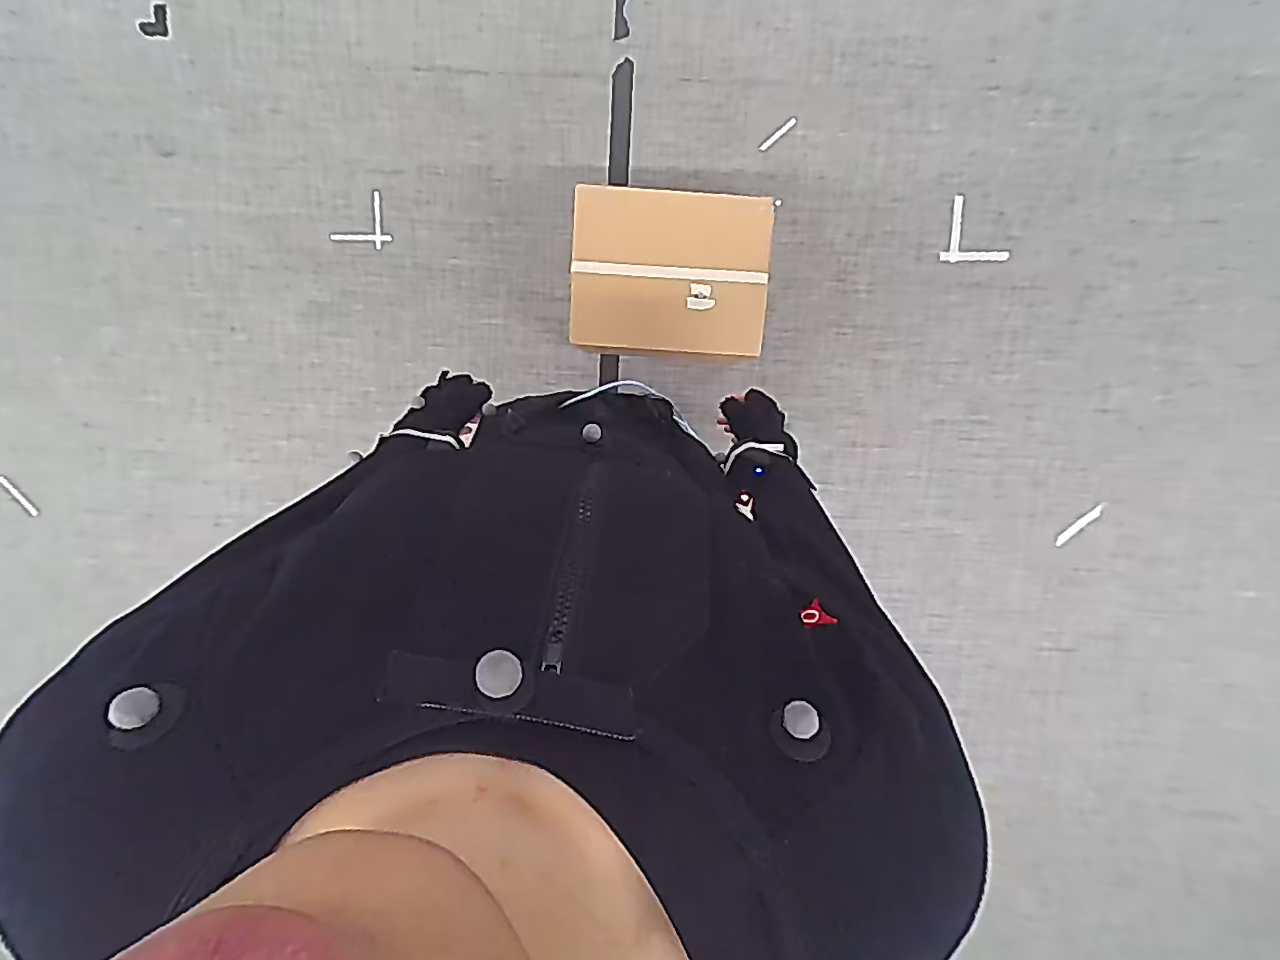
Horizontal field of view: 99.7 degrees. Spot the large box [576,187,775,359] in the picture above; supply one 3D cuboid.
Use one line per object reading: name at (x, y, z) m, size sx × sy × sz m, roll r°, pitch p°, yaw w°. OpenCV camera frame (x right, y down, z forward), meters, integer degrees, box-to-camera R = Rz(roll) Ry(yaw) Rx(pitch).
large box at (0.066, -0.457, 1.267) m, size 0.408 × 0.320 × 0.320 m, roll 4°, pitch 101°, yaw -2°
